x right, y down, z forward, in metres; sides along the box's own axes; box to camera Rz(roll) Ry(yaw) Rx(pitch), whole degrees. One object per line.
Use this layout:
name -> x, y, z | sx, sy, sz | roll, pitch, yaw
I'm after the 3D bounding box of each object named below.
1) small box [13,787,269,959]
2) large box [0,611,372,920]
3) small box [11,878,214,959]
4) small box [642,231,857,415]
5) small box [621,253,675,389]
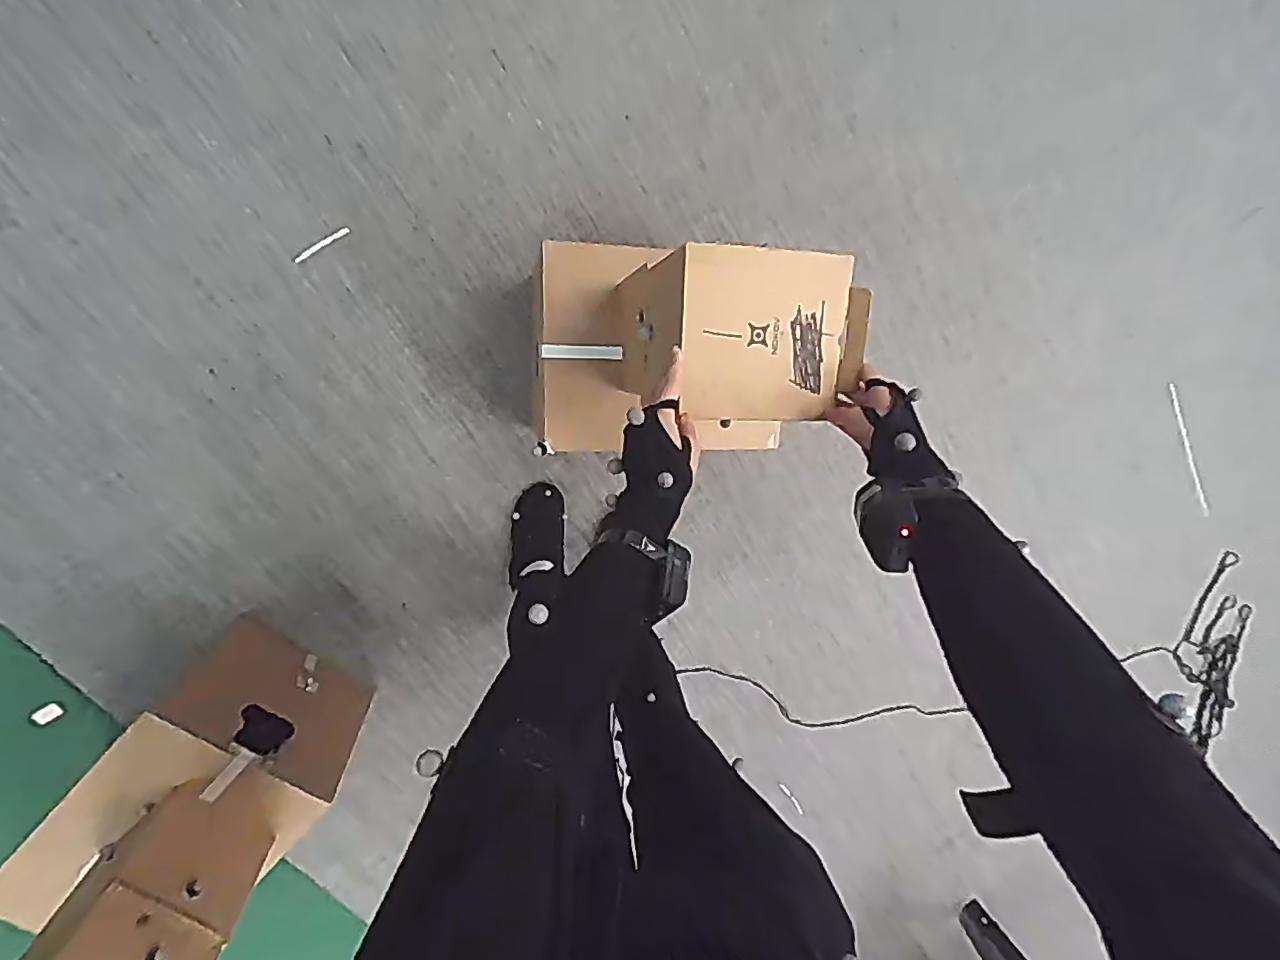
small box -> -0.680, 0.583, 0.763 | 0.168, 0.176, 0.179 | -42, 109, -2
large box -> -0.777, 0.526, 0.985 | 0.320, 0.320, 0.408 | 43, 92, -18
small box -> -0.643, 0.612, 0.608 | 0.179, 0.176, 0.168 | -41, 109, -3
small box -> 0.109, -0.164, 0.605 | 0.179, 0.176, 0.168 | 0, 101, -13
small box -> 0.079, -0.214, 0.761 | 0.179, 0.176, 0.168 | -5, 101, -14
